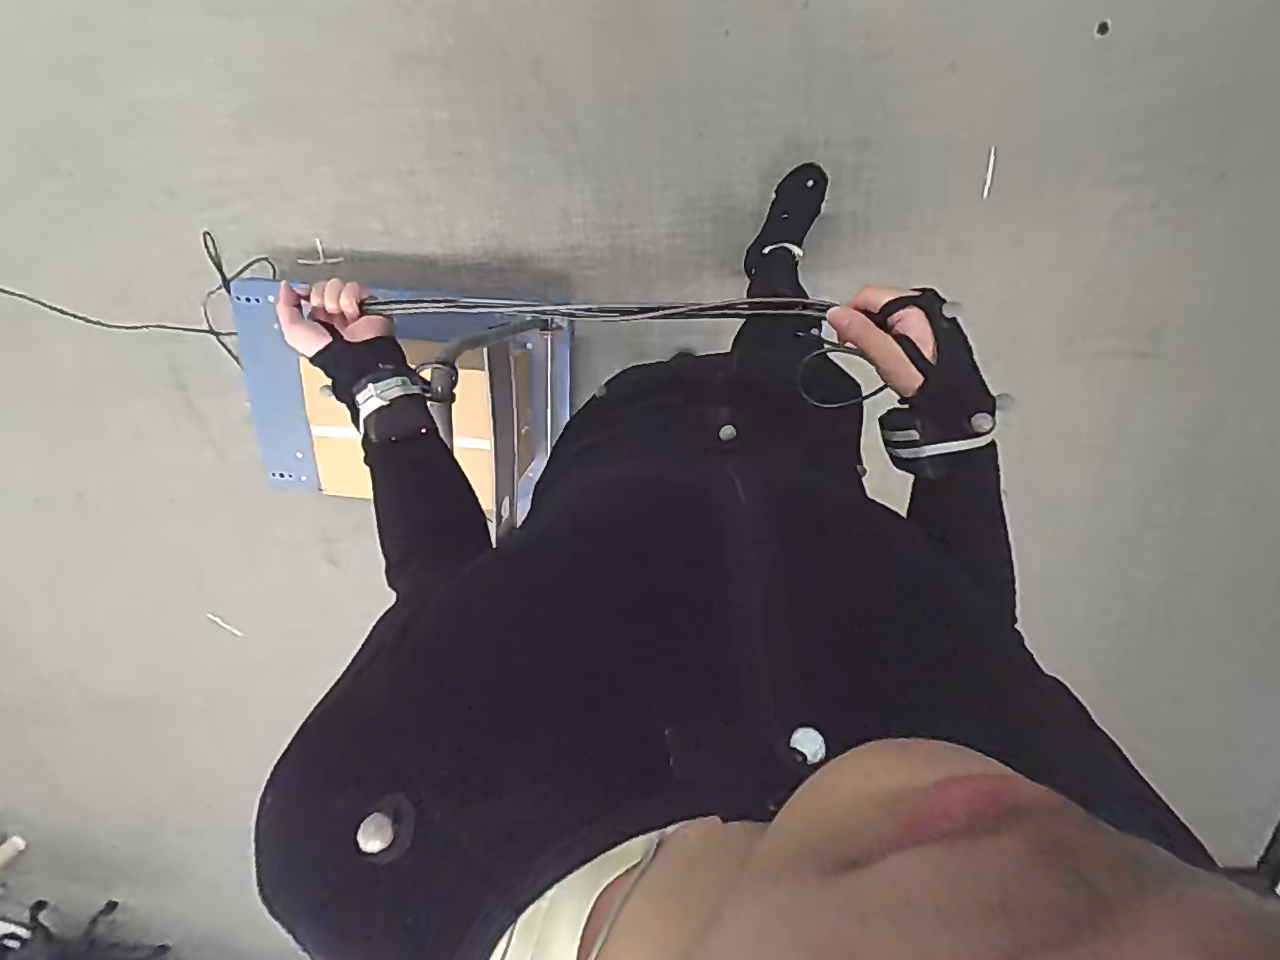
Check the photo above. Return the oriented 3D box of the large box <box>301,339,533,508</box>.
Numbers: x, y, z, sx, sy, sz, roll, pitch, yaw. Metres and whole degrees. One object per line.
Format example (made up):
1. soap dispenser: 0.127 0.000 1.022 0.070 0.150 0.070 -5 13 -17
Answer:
1. large box: -0.491 -0.149 1.283 0.408 0.320 0.320 5 111 3
